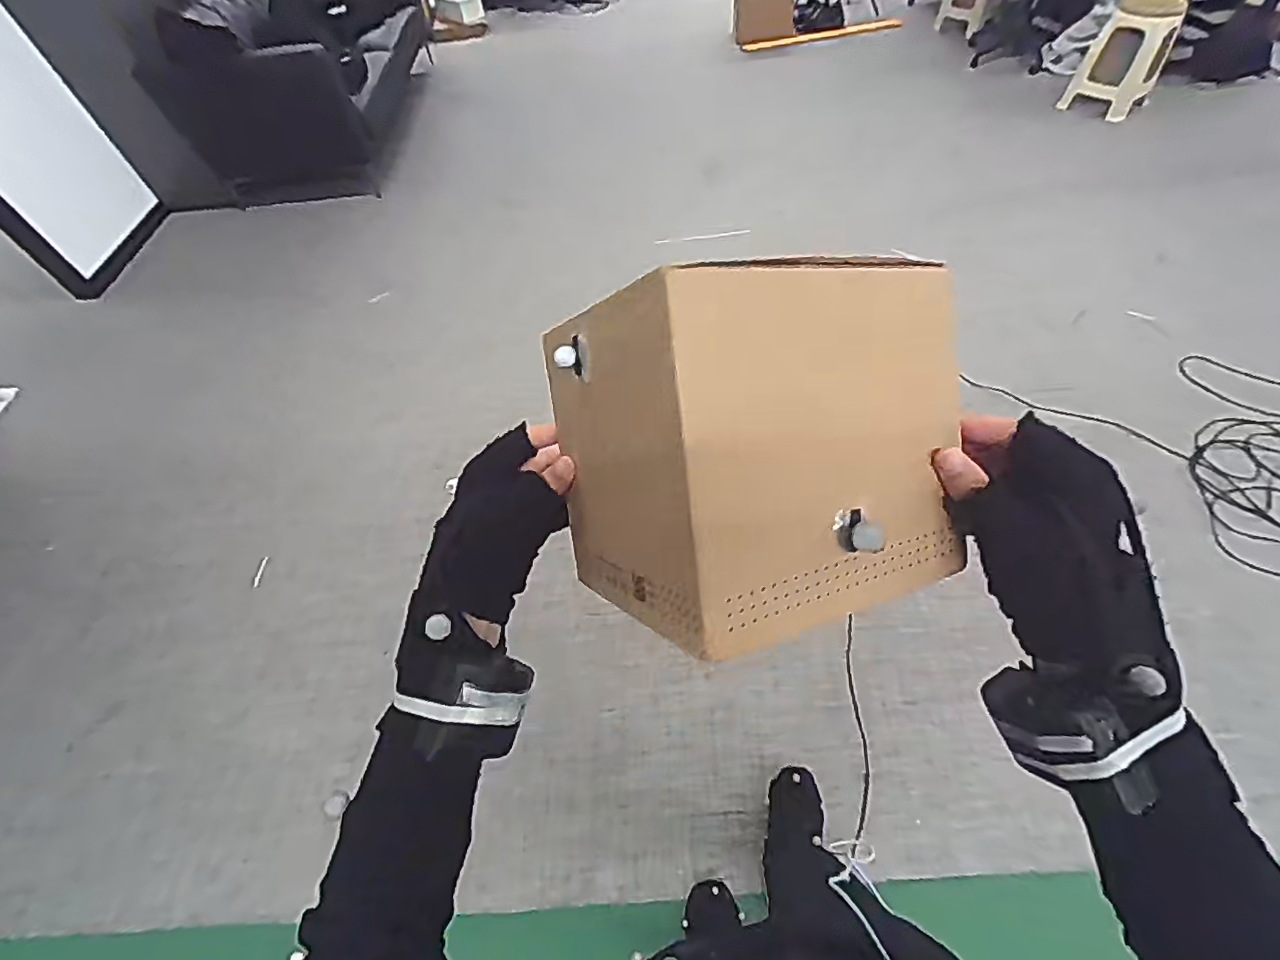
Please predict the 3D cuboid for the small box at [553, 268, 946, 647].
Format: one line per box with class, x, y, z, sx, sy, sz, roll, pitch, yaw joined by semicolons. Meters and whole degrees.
small box;0.060;-0.020;0.336;0.179;0.176;0.168;-10;7;-26
